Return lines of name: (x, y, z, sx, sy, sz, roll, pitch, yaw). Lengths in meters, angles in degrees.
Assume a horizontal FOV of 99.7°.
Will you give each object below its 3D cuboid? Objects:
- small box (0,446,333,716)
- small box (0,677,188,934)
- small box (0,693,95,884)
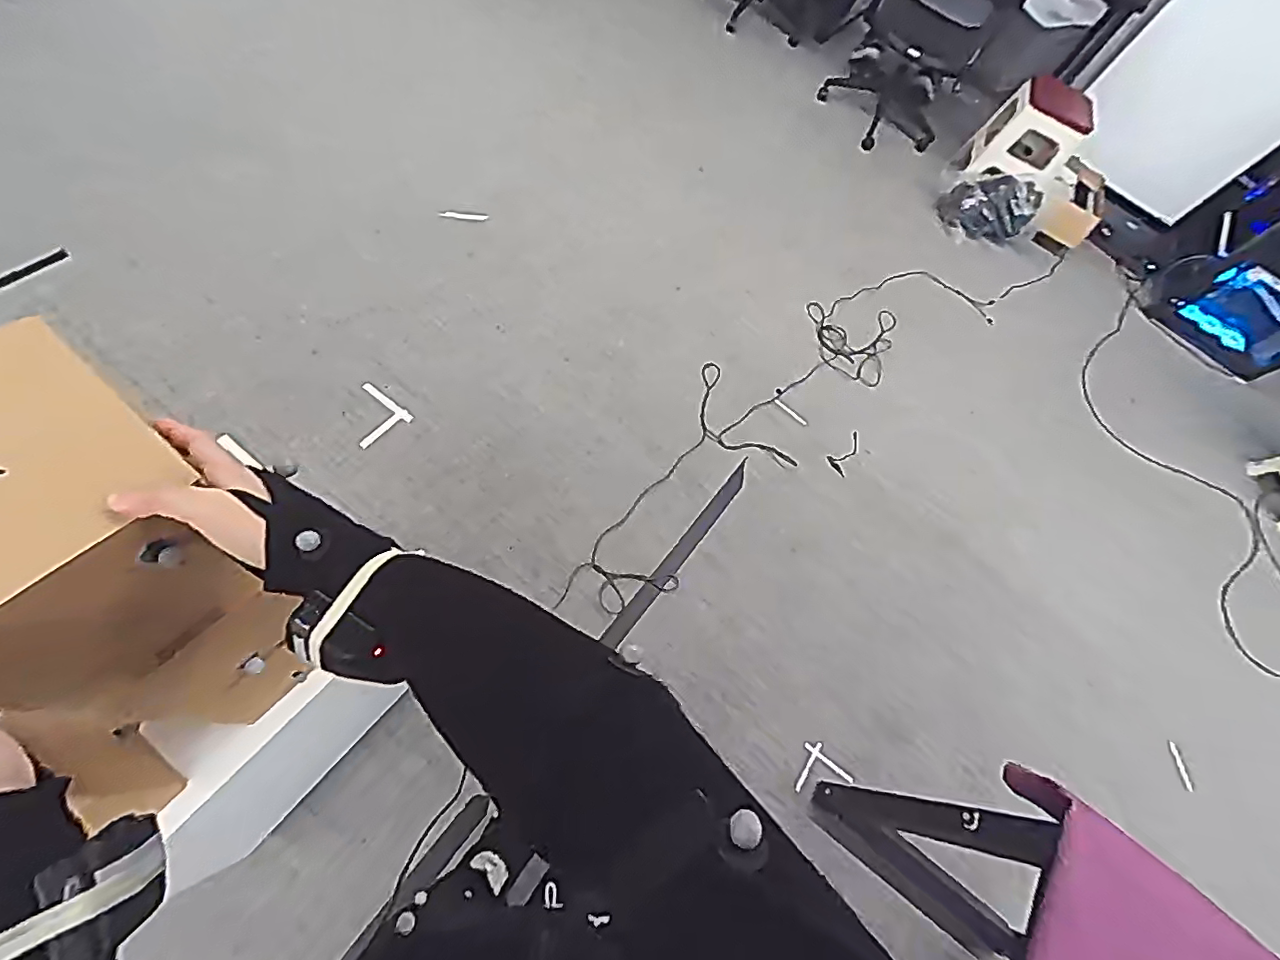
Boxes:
small box: (-0.439, 0.106, 0.520, 0.179, 0.176, 0.168, 42, 63, 5)
small box: (-0.633, 0.332, 0.552, 0.179, 0.176, 0.168, 39, 63, 7)
small box: (-0.595, 0.266, 0.408, 0.179, 0.176, 0.168, 38, 63, 5)
